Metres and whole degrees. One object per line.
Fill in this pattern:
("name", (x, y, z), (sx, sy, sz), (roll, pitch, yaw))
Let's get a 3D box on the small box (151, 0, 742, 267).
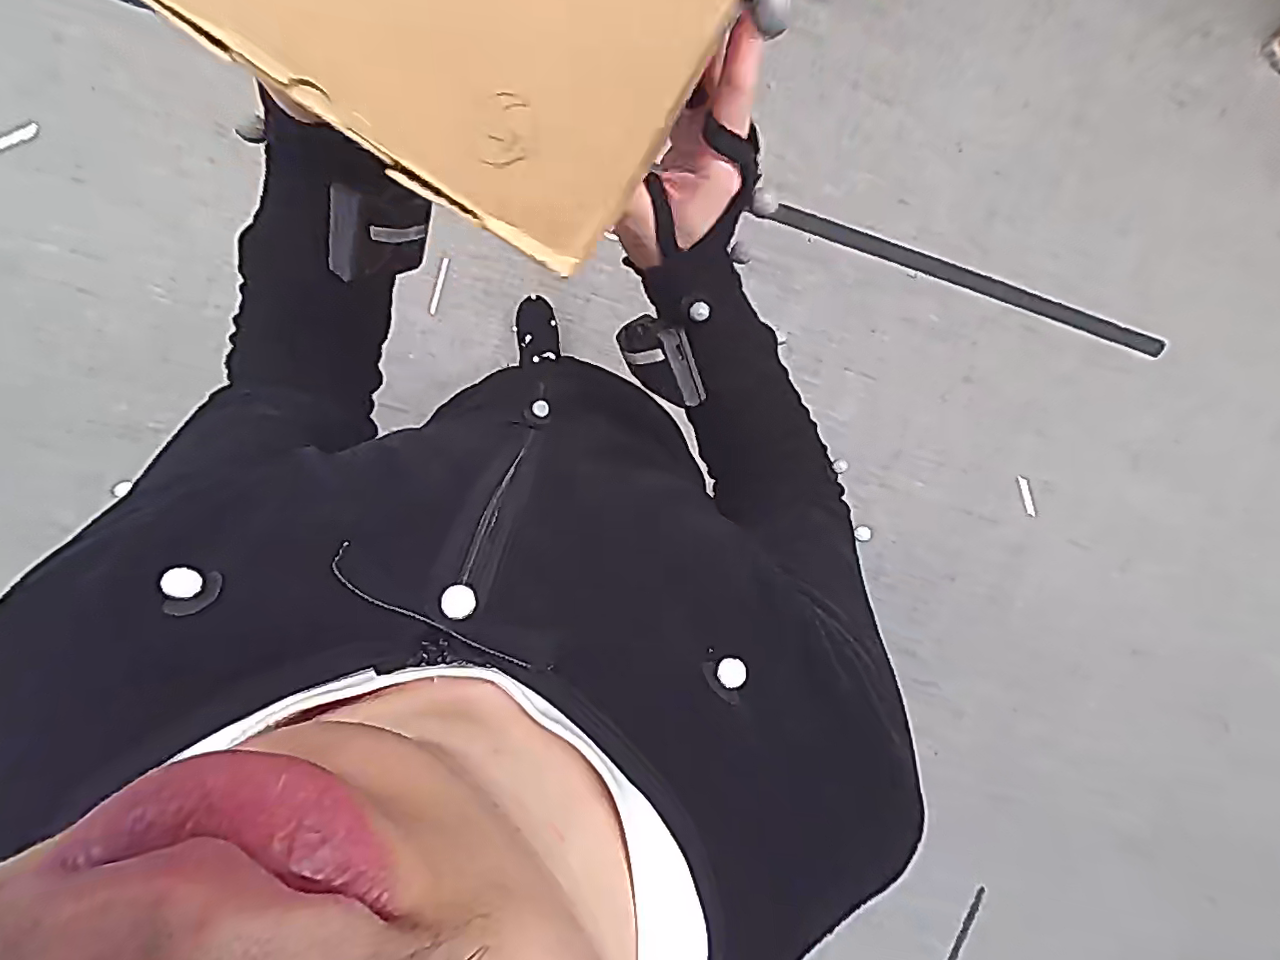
("small box", (-0.032, -0.209, 0.162), (0.168, 0.176, 0.179), (29, 132, -14))
